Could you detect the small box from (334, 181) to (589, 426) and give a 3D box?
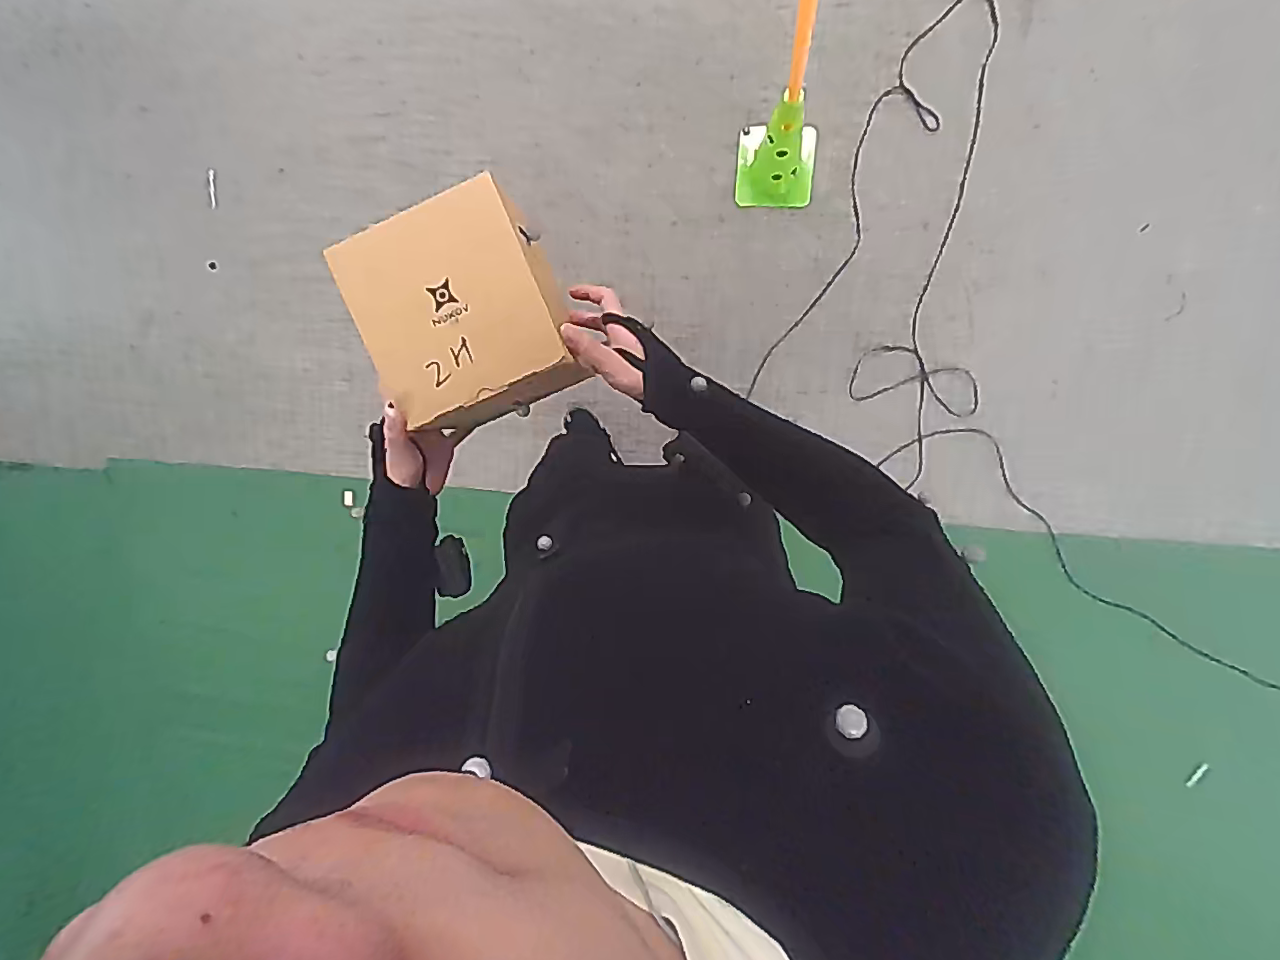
[{"bbox_3d":[-0.167,-0.163,0.566,0.168,0.176,0.179,-22,95,6],"label":"small box"}]

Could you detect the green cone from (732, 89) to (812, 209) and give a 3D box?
[{"bbox_3d":[0.337,-0.811,1.290,0.202,0.368,0.200,4,100,5],"label":"green cone"}]
